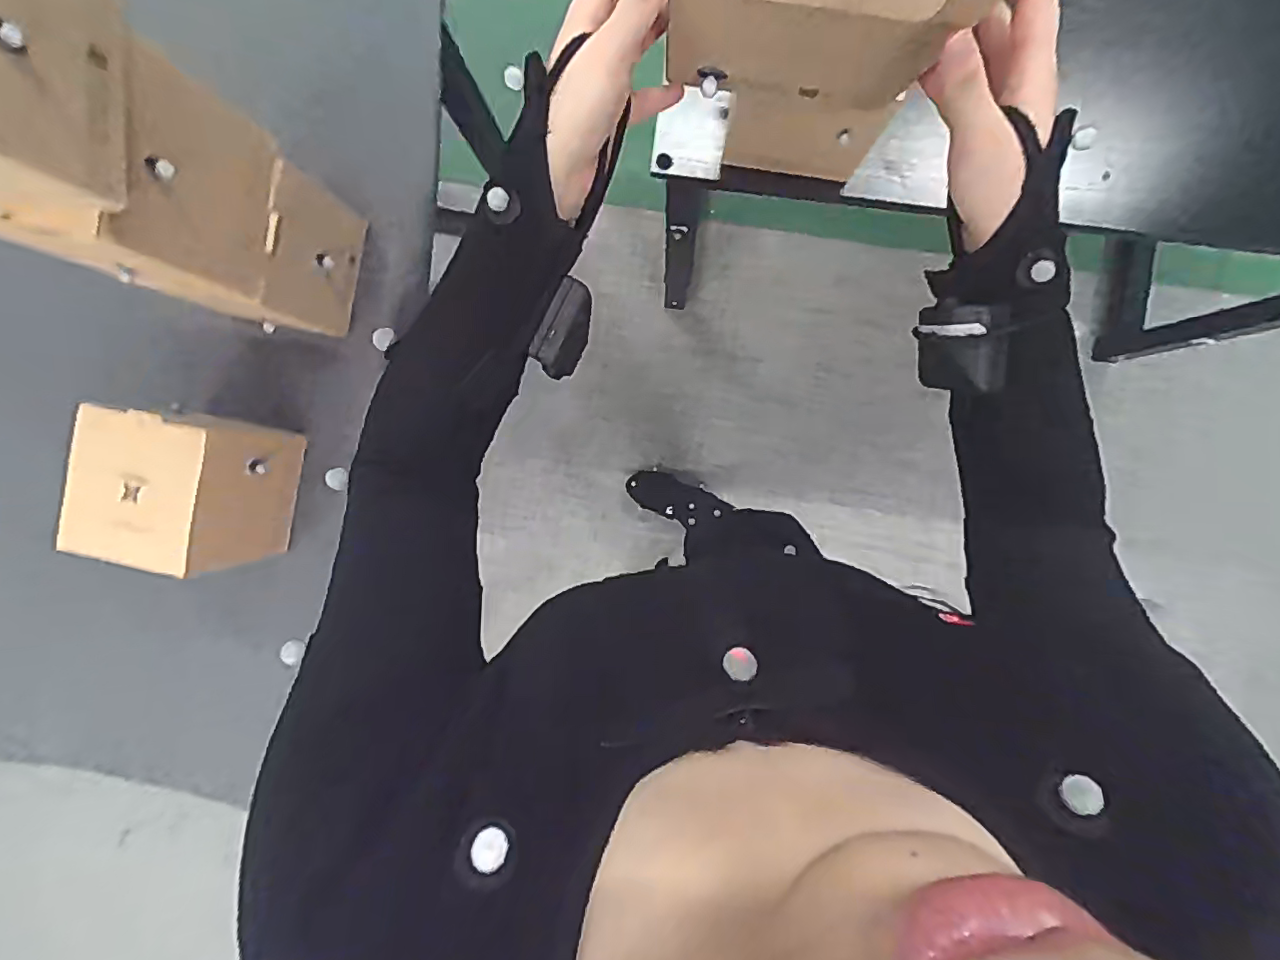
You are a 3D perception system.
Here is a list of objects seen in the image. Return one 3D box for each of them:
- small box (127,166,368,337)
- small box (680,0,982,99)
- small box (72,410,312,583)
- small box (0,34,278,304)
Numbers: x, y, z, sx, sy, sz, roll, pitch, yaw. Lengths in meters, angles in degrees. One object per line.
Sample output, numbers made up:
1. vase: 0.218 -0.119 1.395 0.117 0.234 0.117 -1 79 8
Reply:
1. small box: -0.478 -0.287 0.684 0.179 0.176 0.168 12 94 3
2. small box: 0.115 -0.346 0.300 0.168 0.176 0.179 8 107 0
3. small box: -0.566 0.015 0.706 0.168 0.176 0.179 11 94 5
4. small box: -0.489 -0.289 0.521 0.168 0.176 0.179 10 94 4
